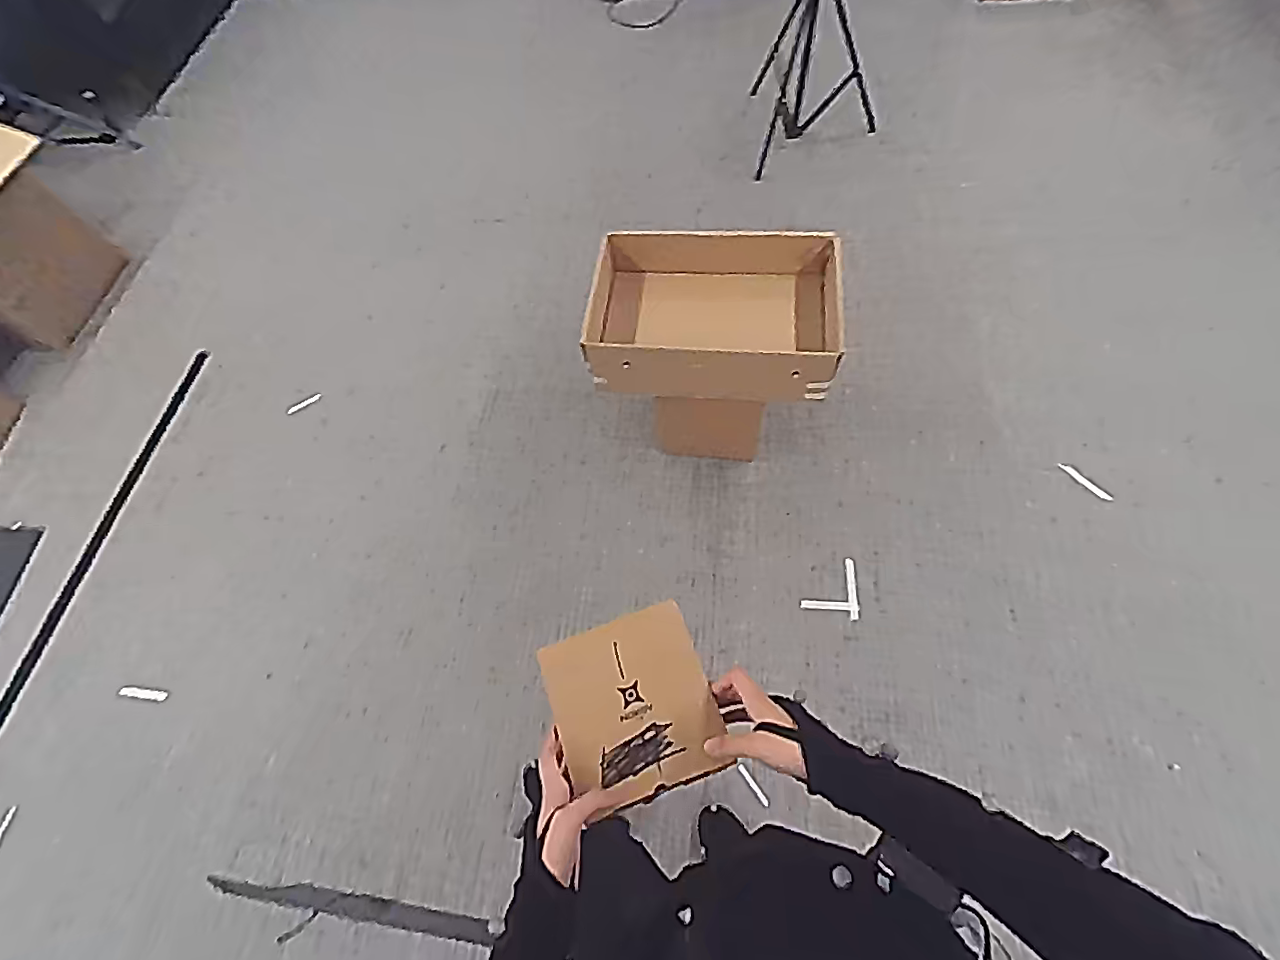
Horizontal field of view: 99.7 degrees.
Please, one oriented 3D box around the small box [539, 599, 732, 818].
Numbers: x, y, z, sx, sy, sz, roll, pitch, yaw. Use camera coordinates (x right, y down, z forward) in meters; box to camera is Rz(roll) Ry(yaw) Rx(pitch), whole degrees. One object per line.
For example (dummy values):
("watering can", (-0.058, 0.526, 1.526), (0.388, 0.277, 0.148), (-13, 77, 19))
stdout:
("small box", (-0.003, 0.262, 0.638), (0.168, 0.176, 0.179), (-19, 66, -5))
